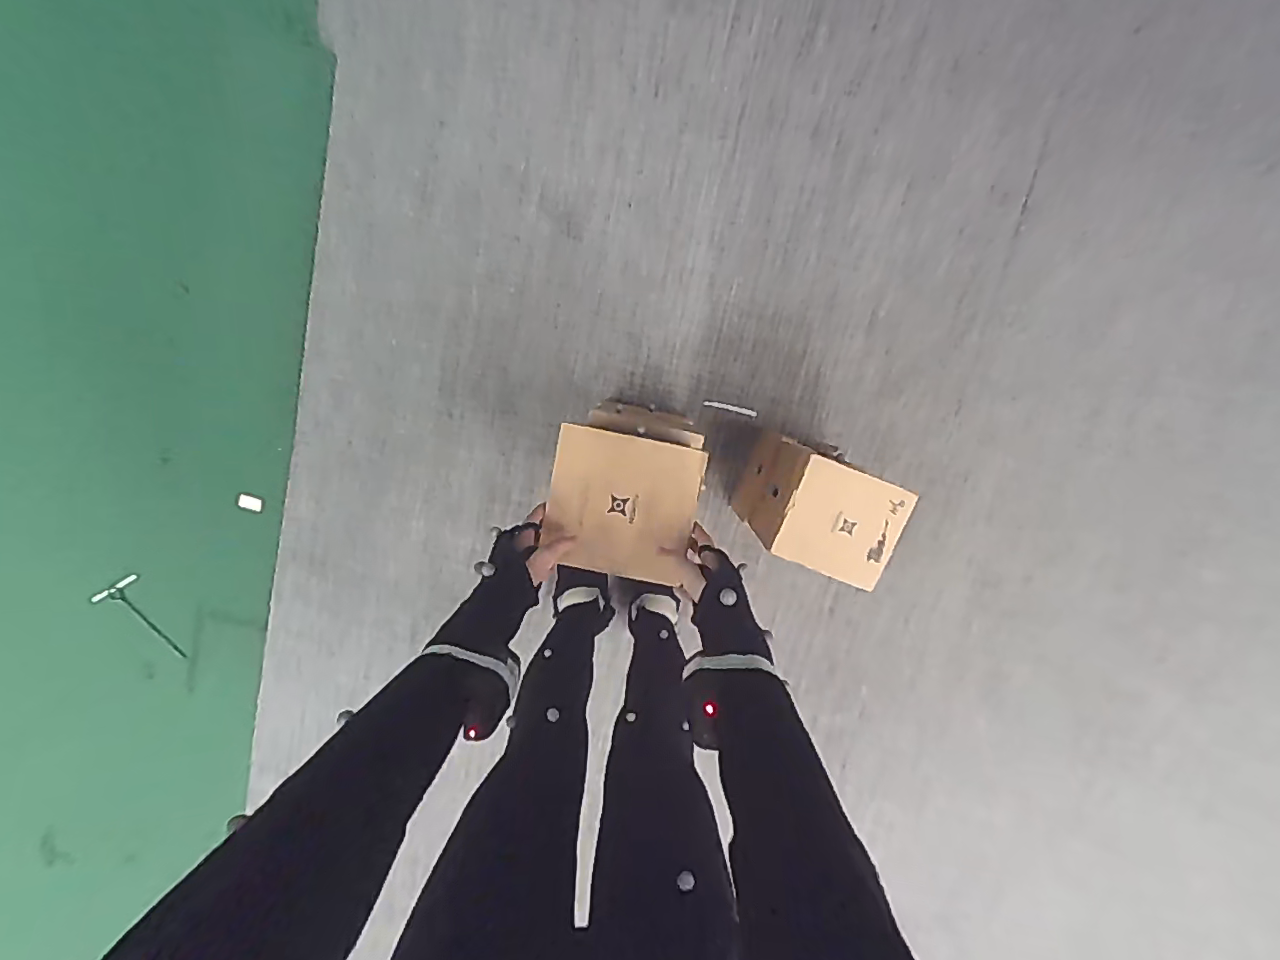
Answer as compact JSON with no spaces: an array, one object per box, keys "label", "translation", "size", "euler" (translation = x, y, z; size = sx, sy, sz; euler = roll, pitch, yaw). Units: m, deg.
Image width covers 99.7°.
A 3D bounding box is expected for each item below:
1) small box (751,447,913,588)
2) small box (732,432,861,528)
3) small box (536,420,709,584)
[{"label":"small box","translation":[0.301,0.050,0.893],"size":[0.179,0.176,0.168],"euler":[22,99,-2]},{"label":"small box","translation":[0.291,0.016,1.054],"size":[0.168,0.176,0.179],"euler":[22,100,-2]},{"label":"small box","translation":[-0.021,0.021,0.711],"size":[0.179,0.176,0.168],"euler":[13,93,-1]}]
